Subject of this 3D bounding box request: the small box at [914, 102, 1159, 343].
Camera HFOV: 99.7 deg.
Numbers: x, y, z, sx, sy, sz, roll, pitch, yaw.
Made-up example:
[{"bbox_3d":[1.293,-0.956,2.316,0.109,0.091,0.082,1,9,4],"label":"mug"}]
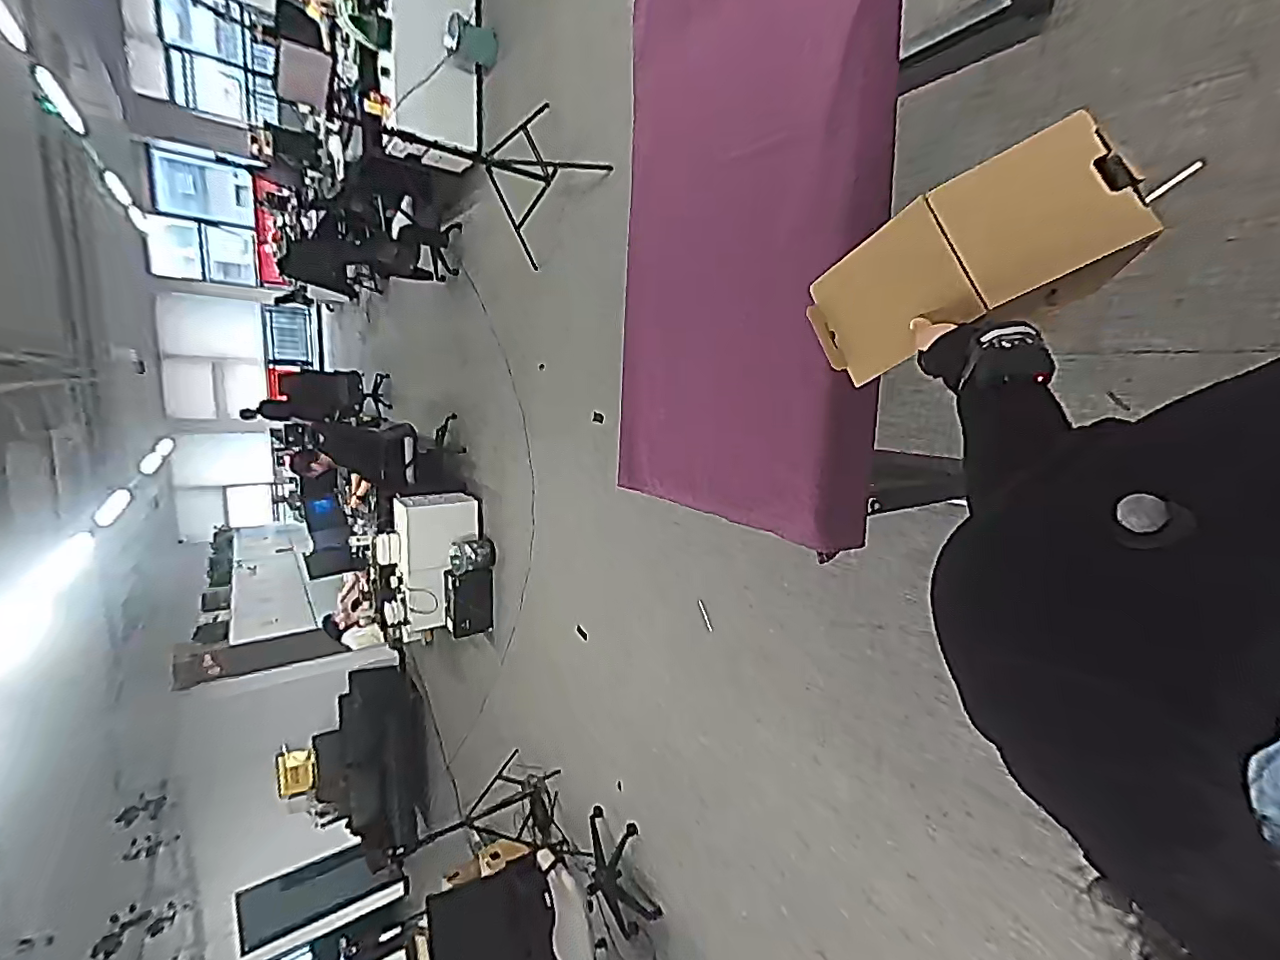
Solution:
[{"bbox_3d":[0.457,-0.294,0.665,0.179,0.176,0.168,-25,79,18],"label":"small box"}]
